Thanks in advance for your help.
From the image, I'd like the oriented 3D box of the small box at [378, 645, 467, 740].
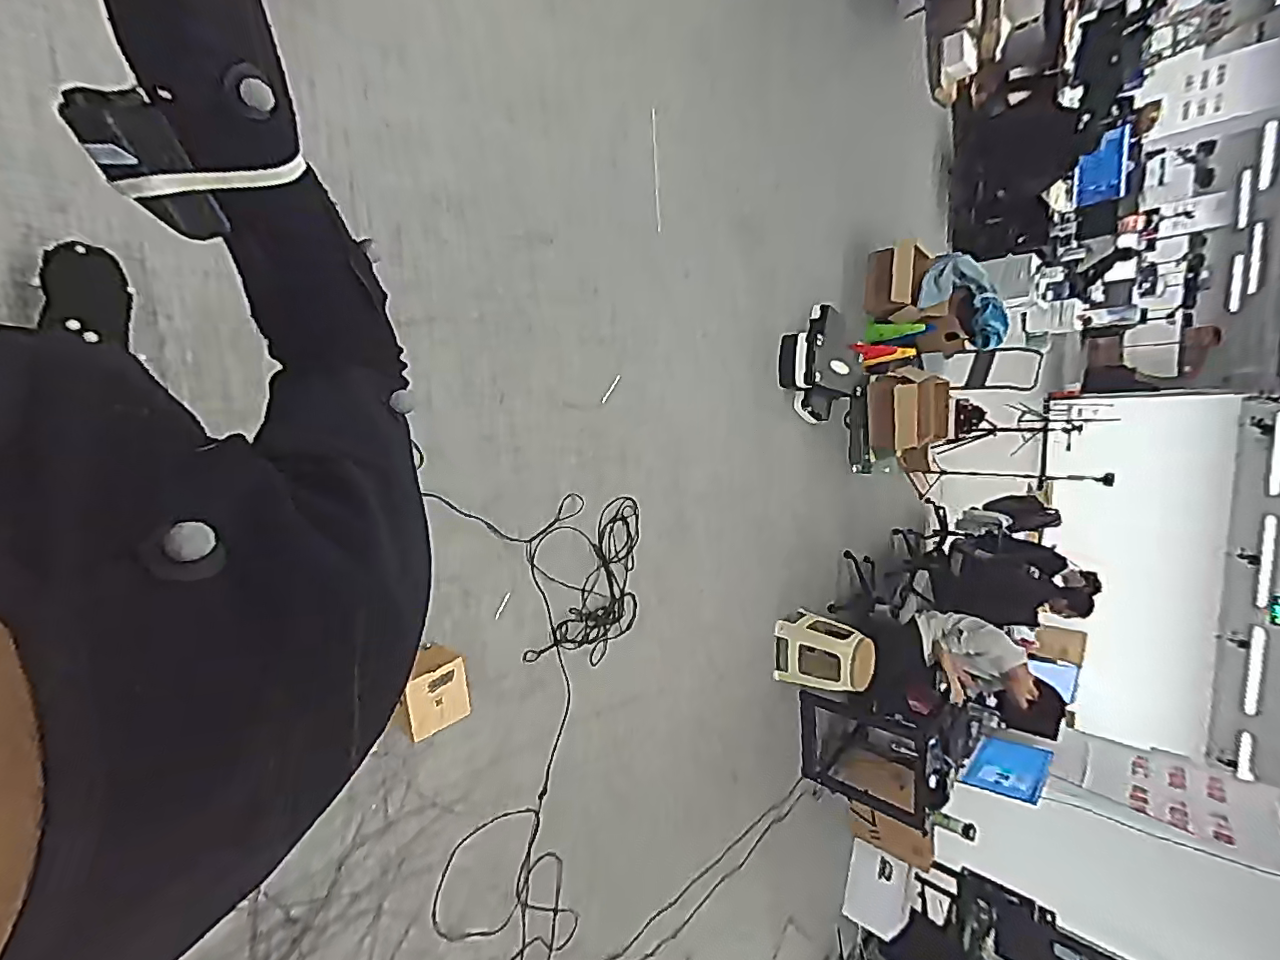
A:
[{"bbox_3d":[-0.609,0.578,1.508,0.168,0.176,0.179,-15,105,-46],"label":"small box"}]
